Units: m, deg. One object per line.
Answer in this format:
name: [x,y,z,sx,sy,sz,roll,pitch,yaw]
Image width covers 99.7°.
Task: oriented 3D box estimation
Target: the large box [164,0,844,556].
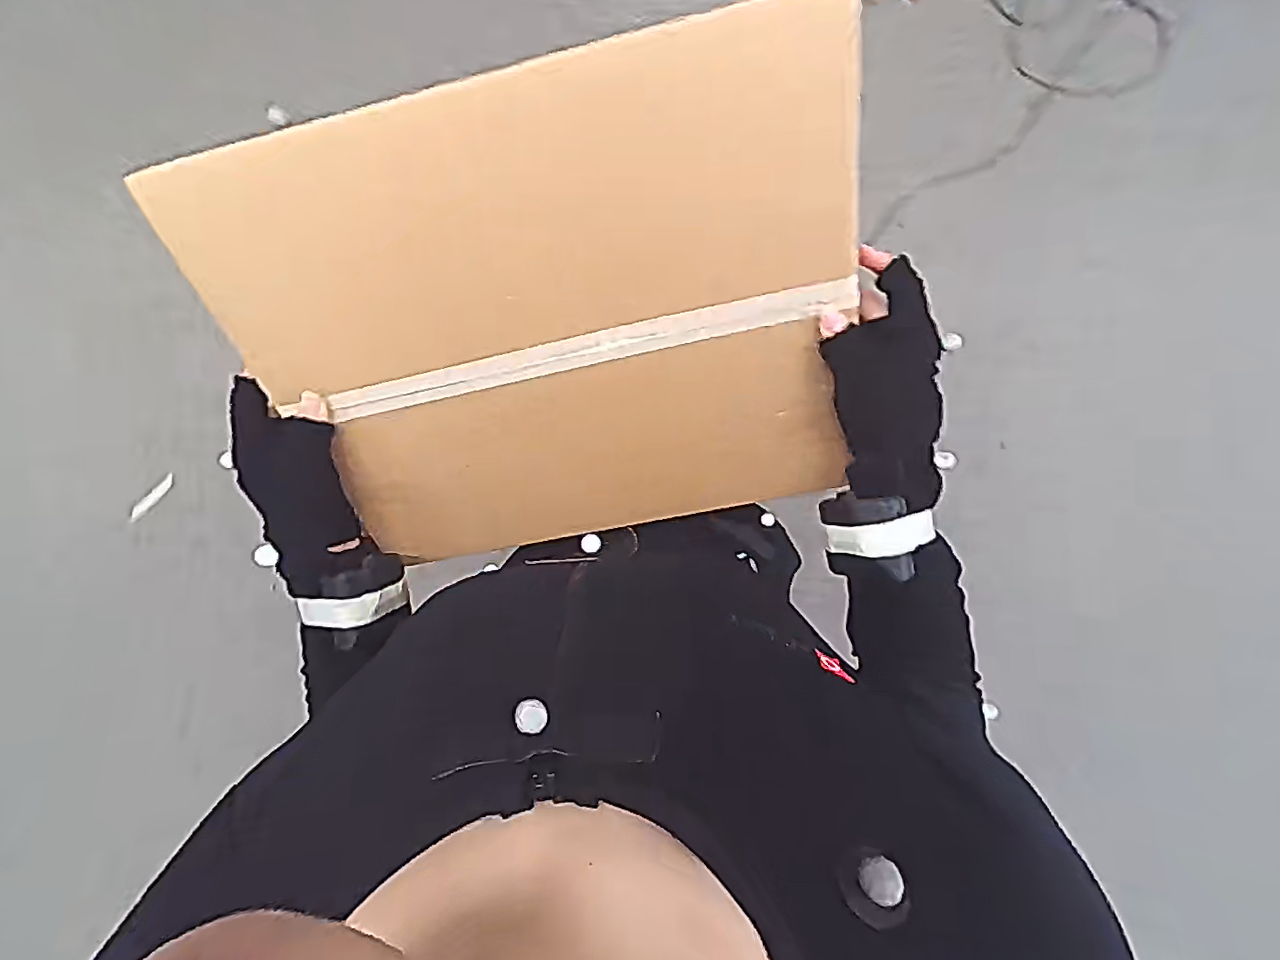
large box: [-0.065,-0.176,0.502,0.408,0.320,0.320,-11,125,6]
